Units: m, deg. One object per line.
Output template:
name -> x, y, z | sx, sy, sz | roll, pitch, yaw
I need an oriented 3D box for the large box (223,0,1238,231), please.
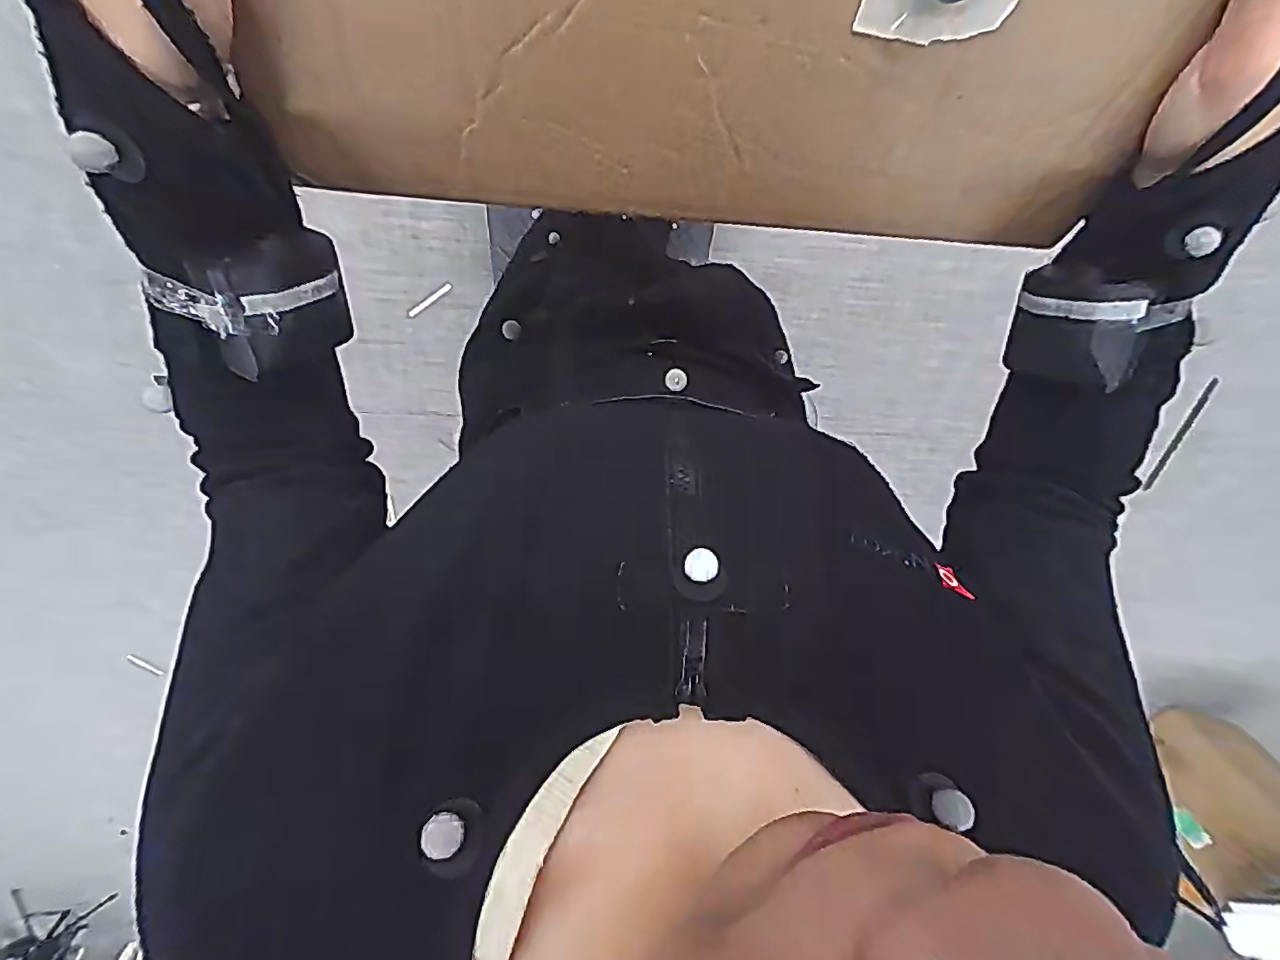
large box -> 0.038, -0.346, 0.229 | 0.408, 0.320, 0.320 | 0, 153, -7
